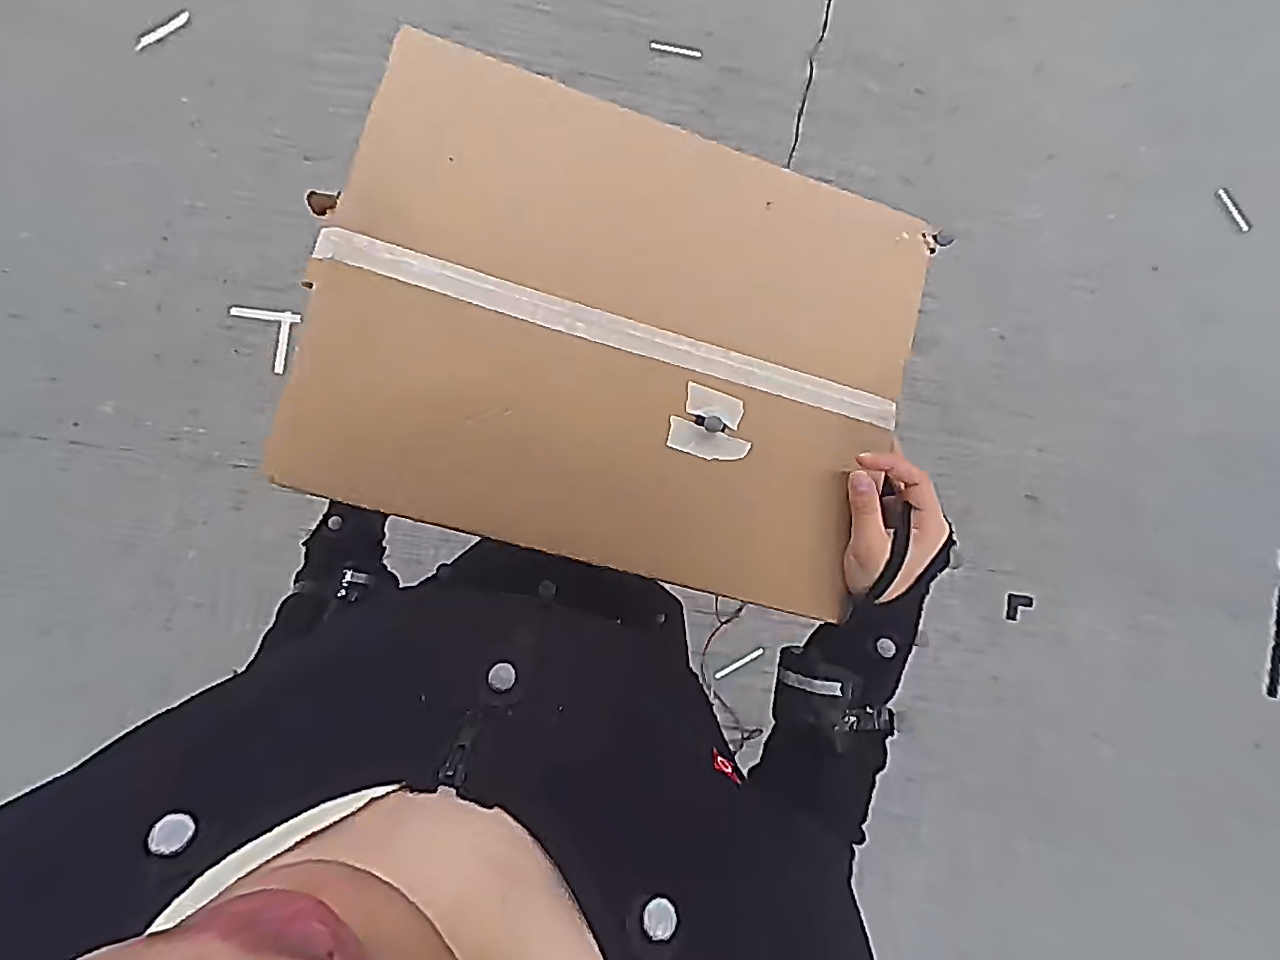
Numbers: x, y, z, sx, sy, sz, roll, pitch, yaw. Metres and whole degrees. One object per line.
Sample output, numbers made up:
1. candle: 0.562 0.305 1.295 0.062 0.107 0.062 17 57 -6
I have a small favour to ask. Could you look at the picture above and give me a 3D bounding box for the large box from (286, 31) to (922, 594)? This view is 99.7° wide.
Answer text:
1. large box: -0.028 -0.103 0.528 0.408 0.320 0.320 15 86 -10
